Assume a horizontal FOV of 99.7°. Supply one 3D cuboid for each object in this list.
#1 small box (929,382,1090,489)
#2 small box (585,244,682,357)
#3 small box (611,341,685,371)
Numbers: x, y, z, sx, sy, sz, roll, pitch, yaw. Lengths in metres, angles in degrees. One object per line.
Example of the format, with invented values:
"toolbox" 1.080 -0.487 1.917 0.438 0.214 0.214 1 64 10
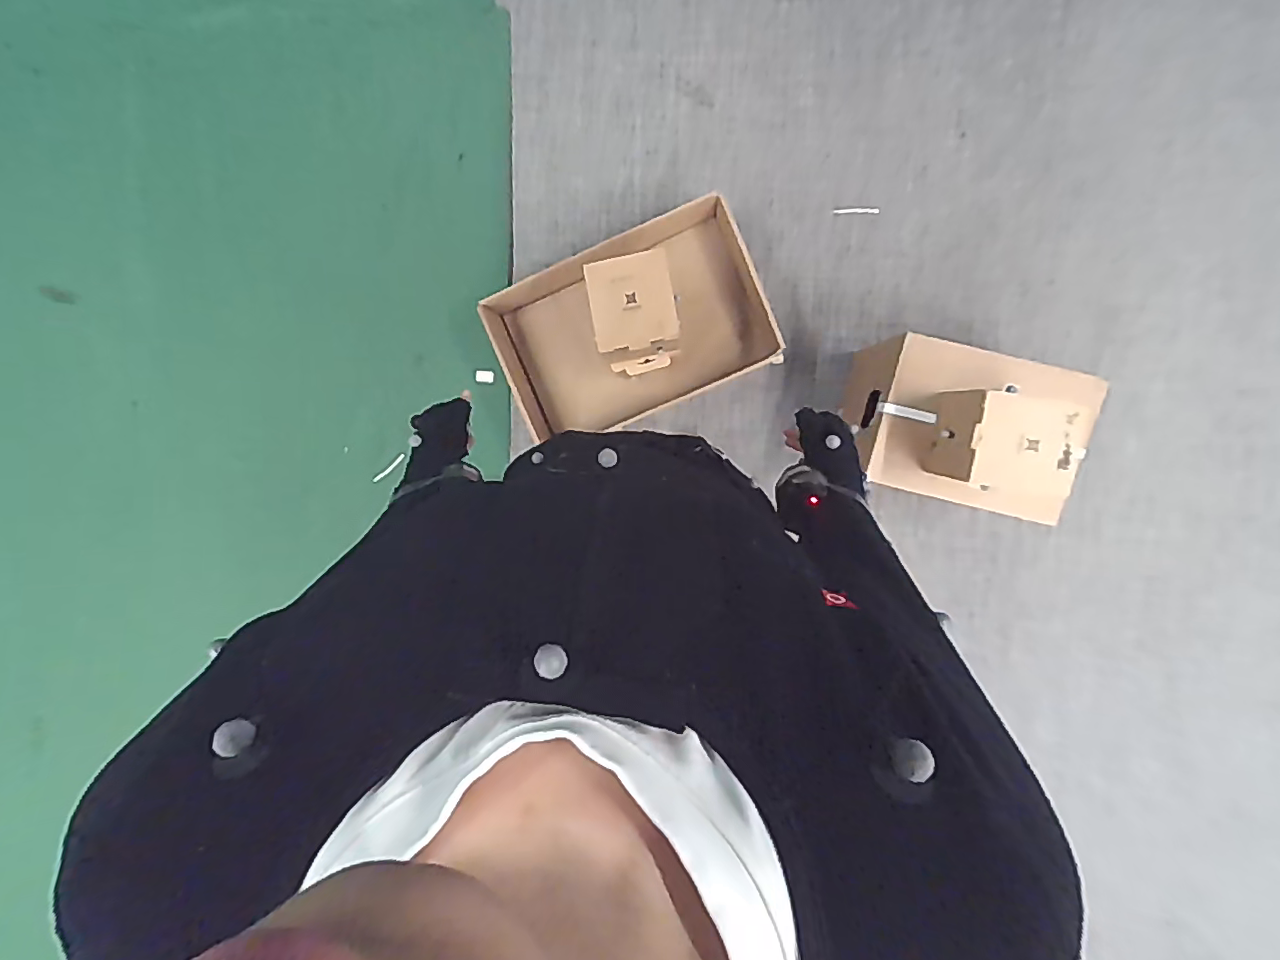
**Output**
"small box" 0.672 -0.085 1.008 0.179 0.176 0.168 9 98 4
"small box" -0.006 -0.362 1.130 0.168 0.176 0.179 -11 93 6
"small box" 0.008 -0.365 1.291 0.168 0.176 0.179 -15 93 7
